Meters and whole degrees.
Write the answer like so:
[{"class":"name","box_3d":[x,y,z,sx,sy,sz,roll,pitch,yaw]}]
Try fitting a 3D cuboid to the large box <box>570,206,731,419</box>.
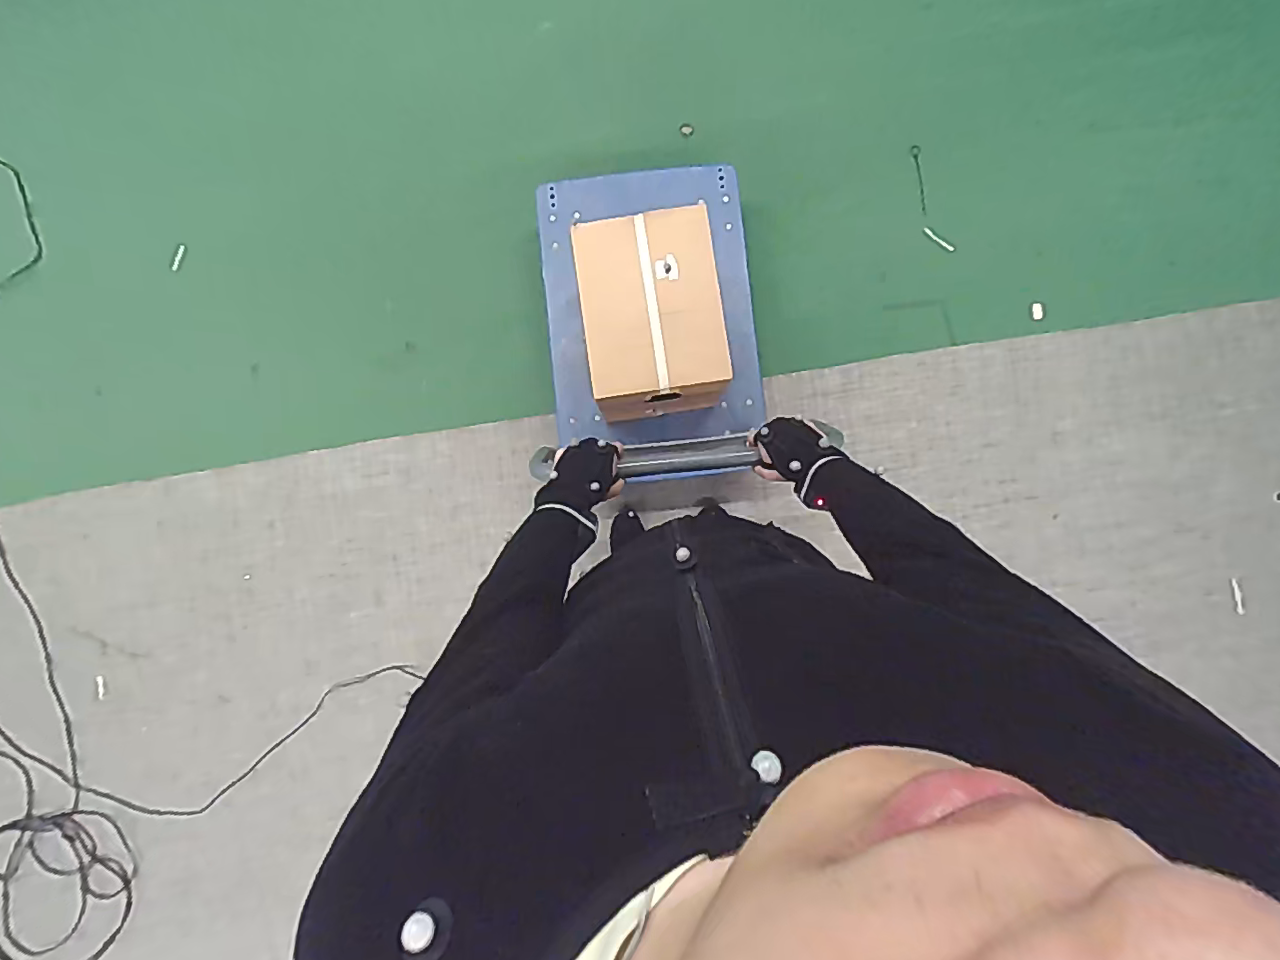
[{"class":"large box","box_3d":[0.027,-0.394,1.360,0.320,0.320,0.408,-8,87,1]}]
